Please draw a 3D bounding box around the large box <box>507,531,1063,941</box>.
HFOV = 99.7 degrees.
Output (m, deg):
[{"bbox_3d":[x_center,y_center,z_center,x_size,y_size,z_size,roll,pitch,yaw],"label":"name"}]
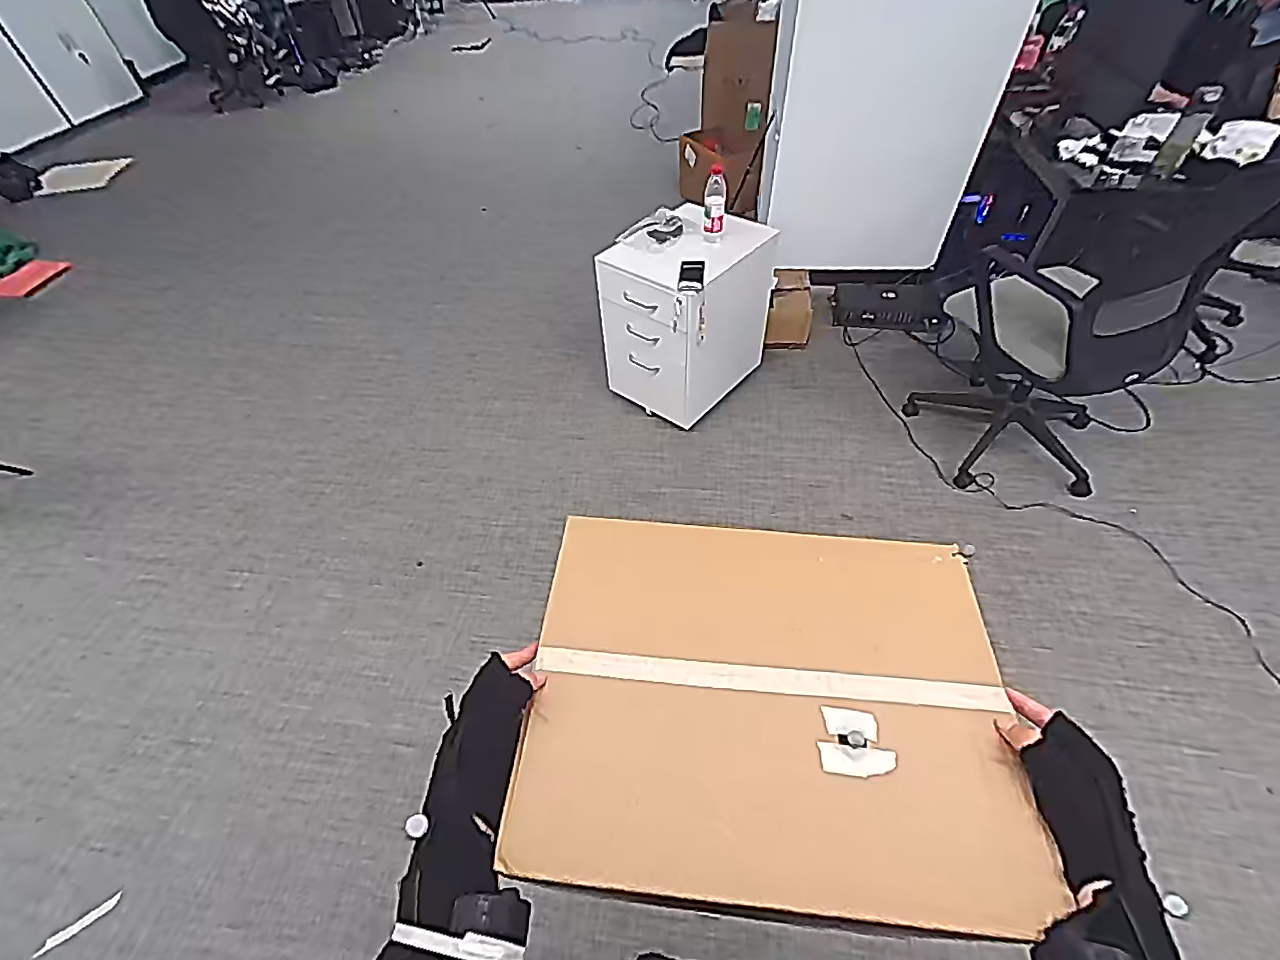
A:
[{"bbox_3d":[0.109,0.278,0.591,0.408,0.320,0.320,5,52,4],"label":"large box"}]
